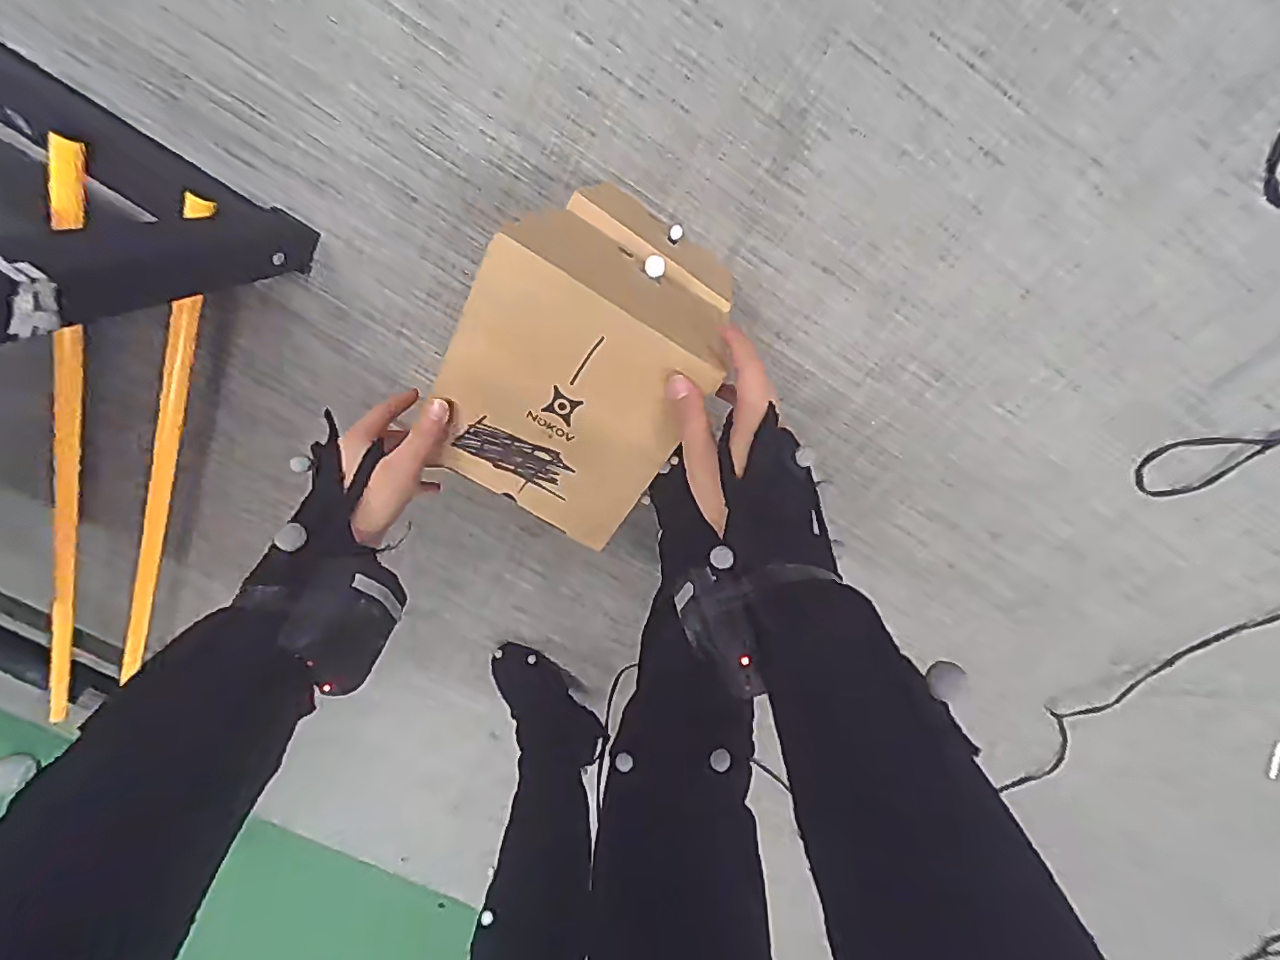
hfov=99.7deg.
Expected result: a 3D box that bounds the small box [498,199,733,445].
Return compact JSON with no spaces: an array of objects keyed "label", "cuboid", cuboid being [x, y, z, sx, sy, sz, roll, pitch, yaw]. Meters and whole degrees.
[{"label":"small box","cuboid":[-0.019,-0.176,0.579,0.168,0.176,0.179,33,119,-9]}]
